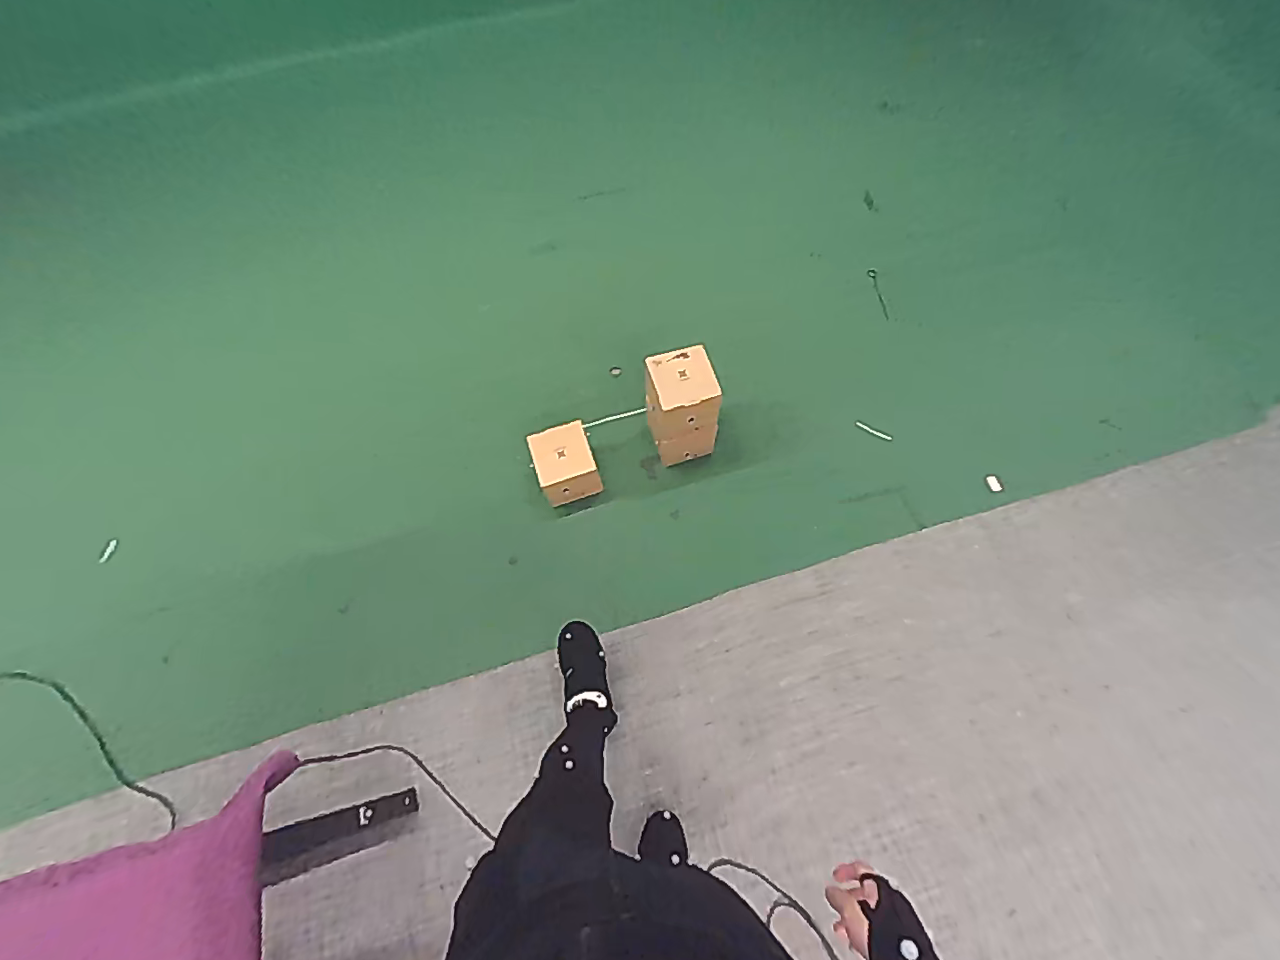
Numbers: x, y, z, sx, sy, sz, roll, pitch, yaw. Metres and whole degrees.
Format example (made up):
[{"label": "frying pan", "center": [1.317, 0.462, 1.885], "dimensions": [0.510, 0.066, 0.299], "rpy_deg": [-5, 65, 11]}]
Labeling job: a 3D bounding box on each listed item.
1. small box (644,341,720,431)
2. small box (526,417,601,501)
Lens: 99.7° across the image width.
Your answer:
[{"label": "small box", "center": [0.114, -0.252, 1.505], "dimensions": [0.168, 0.176, 0.179], "rpy_deg": [-15, 68, -5]}, {"label": "small box", "center": [-0.223, -0.054, 1.614], "dimensions": [0.168, 0.176, 0.179], "rpy_deg": [-19, 66, -6]}]
